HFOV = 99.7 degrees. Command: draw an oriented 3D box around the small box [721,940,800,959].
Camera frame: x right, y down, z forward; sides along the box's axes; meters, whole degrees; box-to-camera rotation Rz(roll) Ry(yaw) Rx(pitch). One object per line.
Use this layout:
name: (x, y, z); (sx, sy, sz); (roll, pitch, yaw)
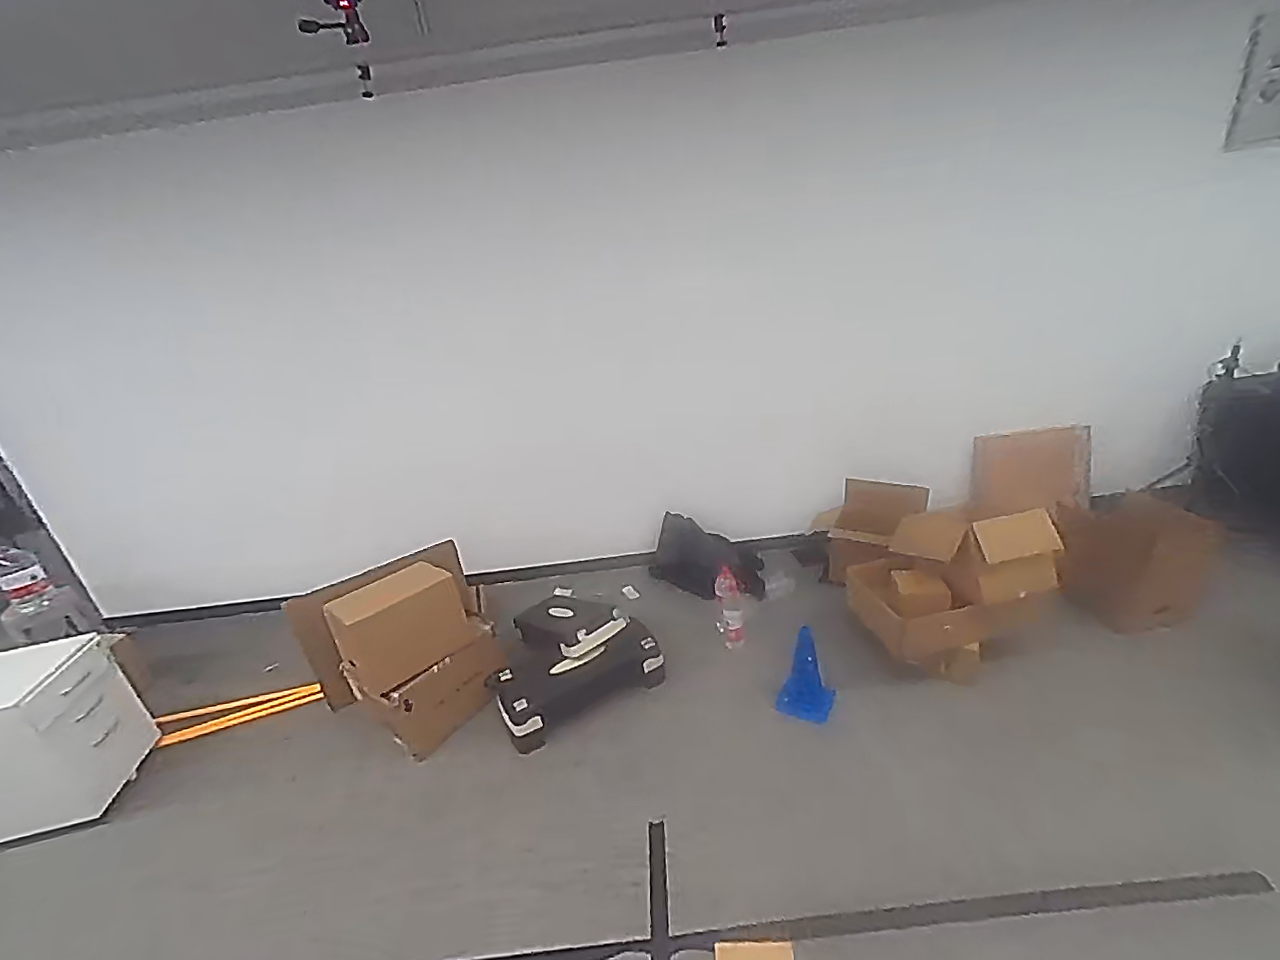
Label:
small box: (0.256, 1.098, 1.113); (0.168, 0.176, 0.179); (-5, 24, 6)
